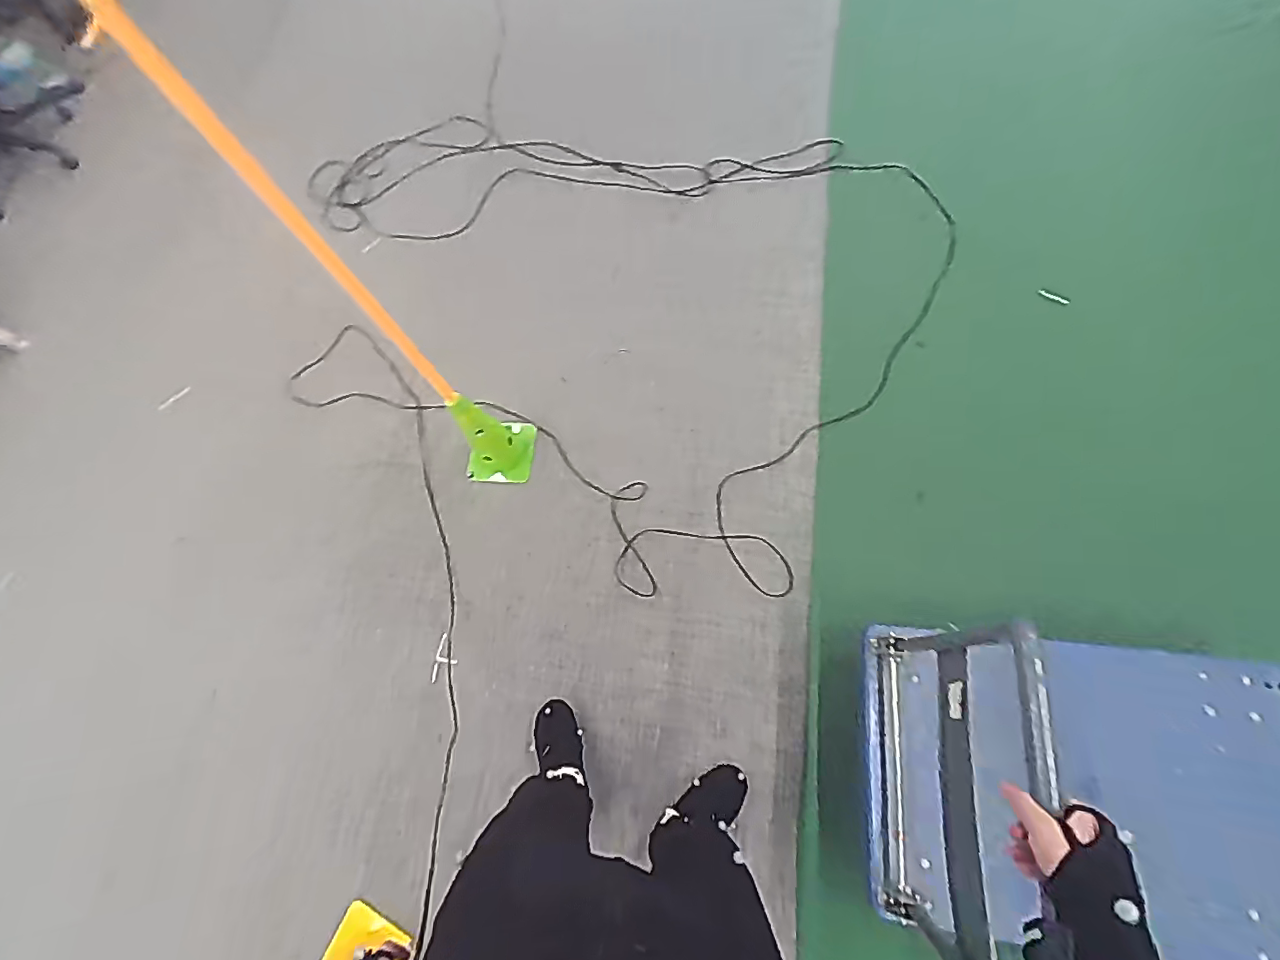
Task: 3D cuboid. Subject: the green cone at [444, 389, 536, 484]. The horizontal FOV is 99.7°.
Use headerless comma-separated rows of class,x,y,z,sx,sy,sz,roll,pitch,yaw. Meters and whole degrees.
green cone,-0.451,-0.144,1.525,0.200,0.368,0.202,2,69,8
